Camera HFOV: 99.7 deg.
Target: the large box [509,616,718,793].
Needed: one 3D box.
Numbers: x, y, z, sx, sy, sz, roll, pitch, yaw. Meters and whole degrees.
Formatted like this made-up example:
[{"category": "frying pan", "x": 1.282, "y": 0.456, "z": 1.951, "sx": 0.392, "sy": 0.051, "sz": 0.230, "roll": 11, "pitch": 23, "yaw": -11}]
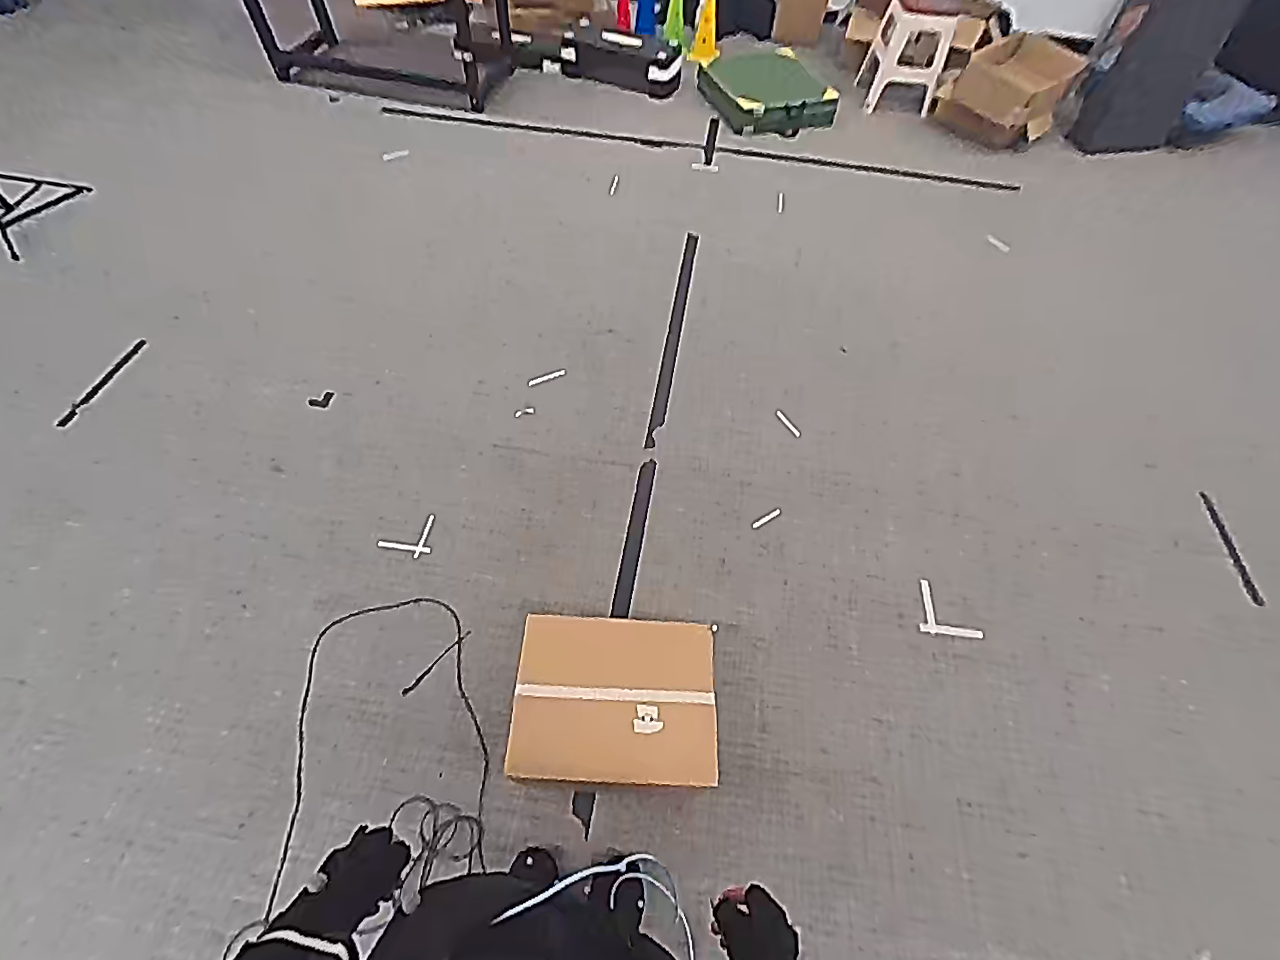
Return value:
[{"category": "large box", "x": -0.057, "y": 0.516, "z": 1.223, "sx": 0.408, "sy": 0.320, "sz": 0.320, "roll": 4, "pitch": 57, "yaw": -2}]
